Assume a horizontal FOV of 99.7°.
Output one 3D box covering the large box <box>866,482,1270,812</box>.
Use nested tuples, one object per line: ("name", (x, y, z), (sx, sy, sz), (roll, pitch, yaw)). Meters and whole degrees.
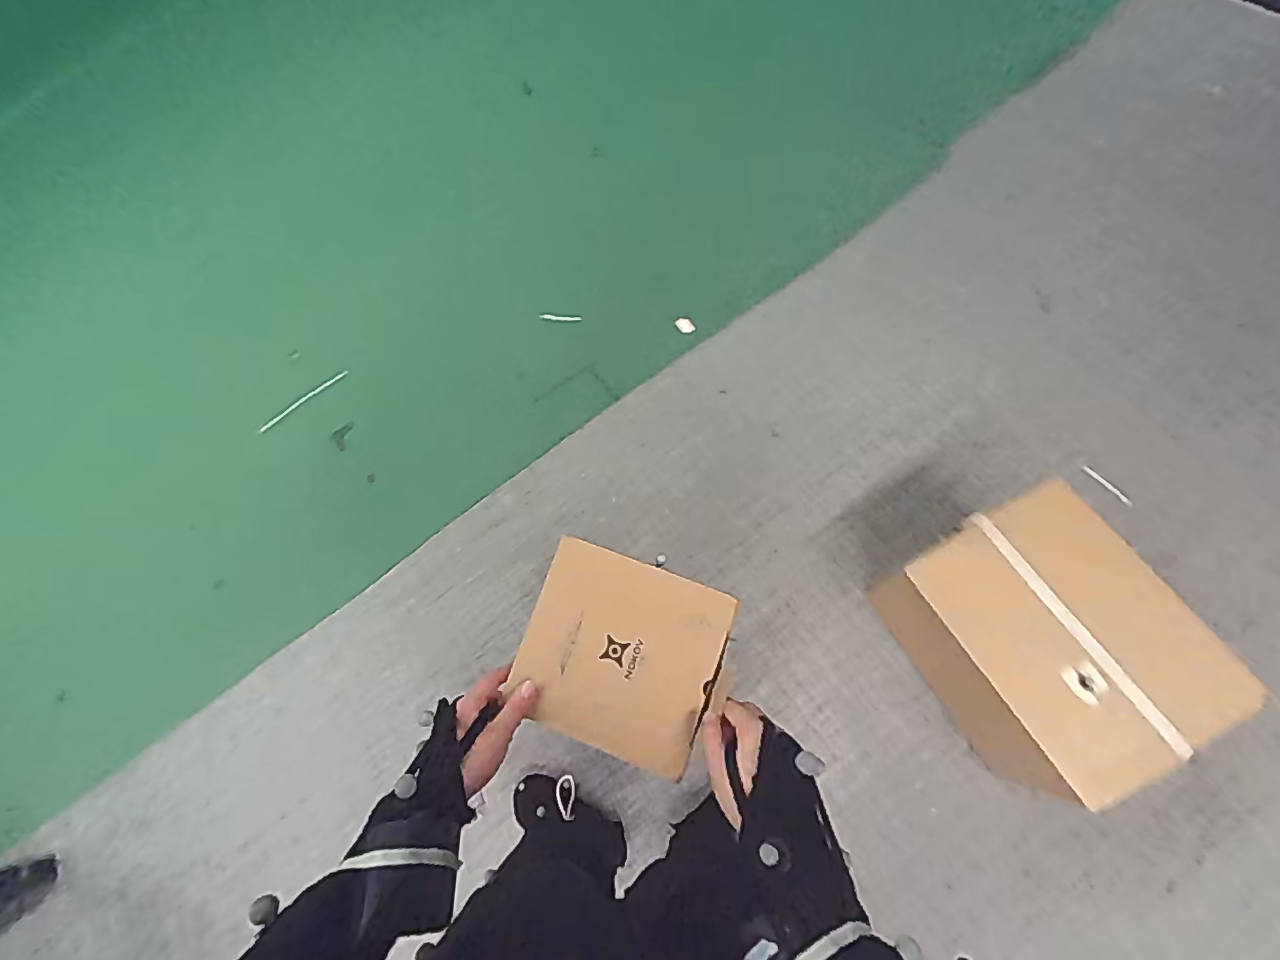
("large box", (0.687, 0.282, 0.966), (0.320, 0.320, 0.408), (-30, 68, -1))

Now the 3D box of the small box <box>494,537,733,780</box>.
("small box", (-0.015, 0.168, 0.557), (0.179, 0.176, 0.168), (17, 81, 10))
